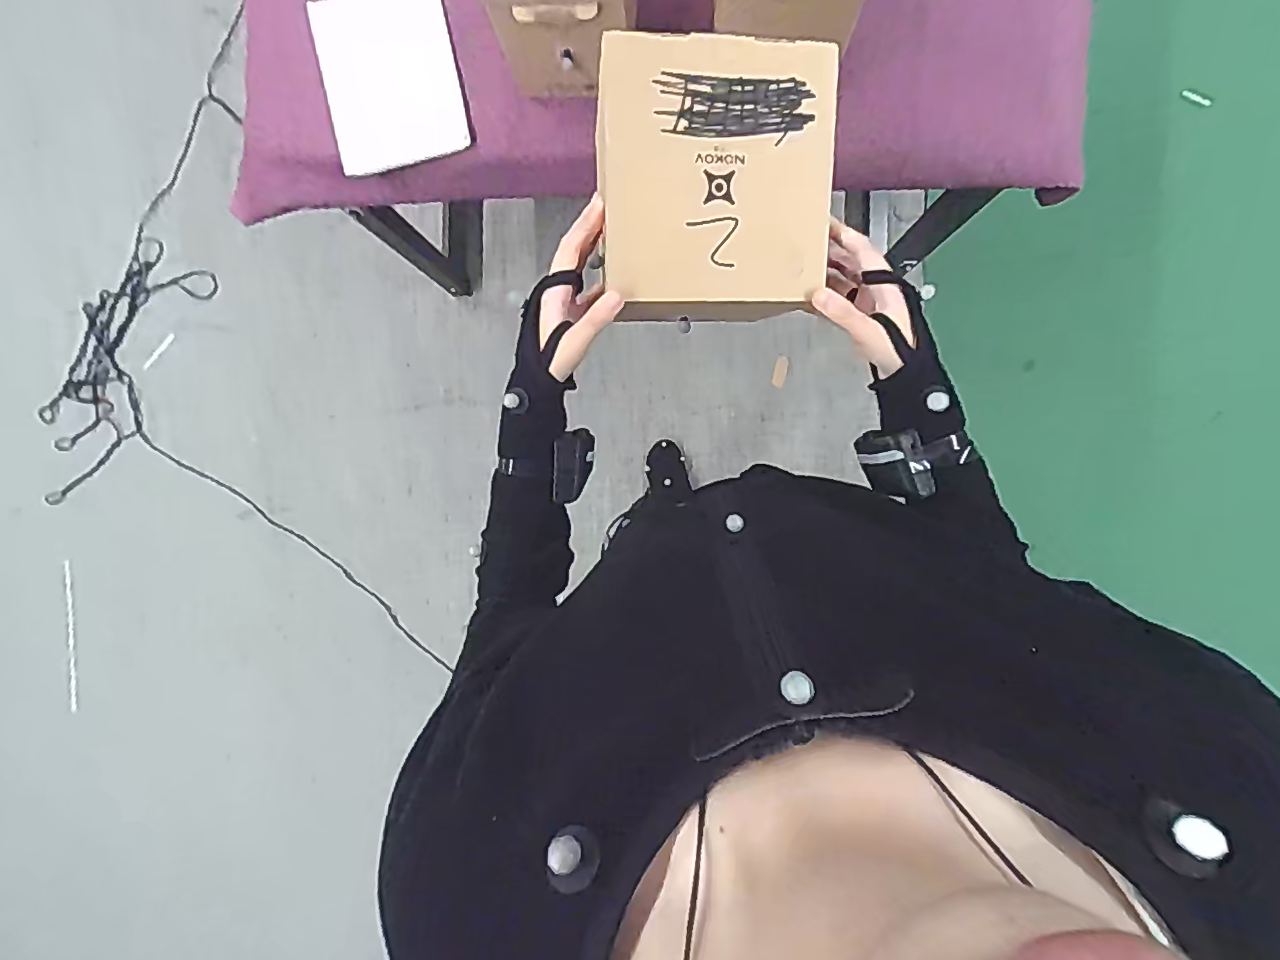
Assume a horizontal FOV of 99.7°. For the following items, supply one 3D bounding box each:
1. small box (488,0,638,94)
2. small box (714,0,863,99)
[{"bbox_3d":[-0.091,-0.646,0.712,0.168,0.176,0.179,2,91,4],"label":"small box"},{"bbox_3d":[0.183,-0.633,0.691,0.168,0.176,0.179,2,90,5],"label":"small box"}]
